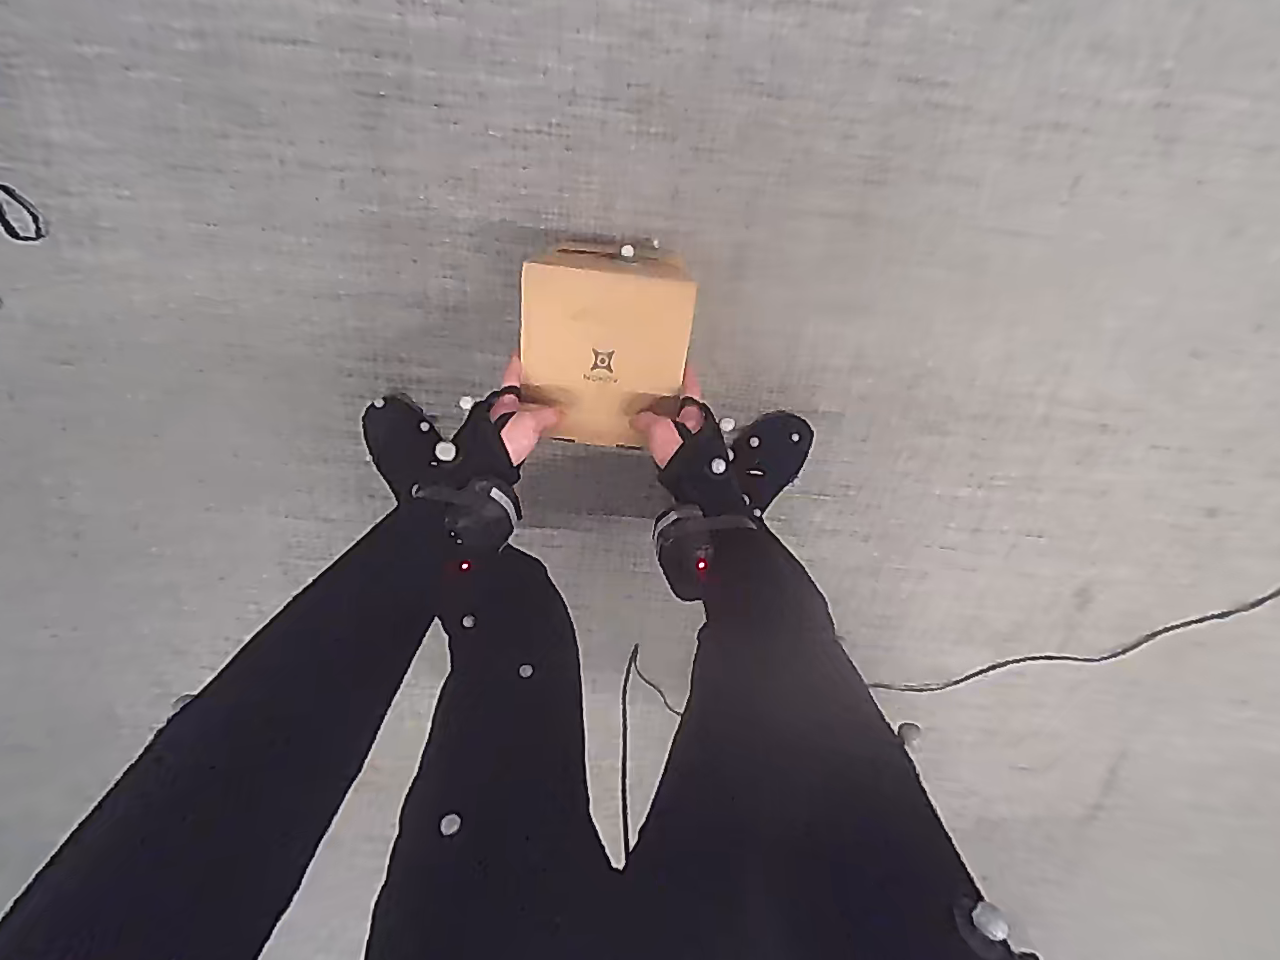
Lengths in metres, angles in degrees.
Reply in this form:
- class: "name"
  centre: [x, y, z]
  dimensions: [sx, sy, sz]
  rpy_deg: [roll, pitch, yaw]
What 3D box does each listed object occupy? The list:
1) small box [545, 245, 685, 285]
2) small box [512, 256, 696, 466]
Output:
- class: "small box"
  centre: [-0.036, -0.211, 0.723]
  dimensions: [0.168, 0.176, 0.179]
  rpy_deg: [4, 118, -1]
- class: "small box"
  centre: [-0.039, -0.134, 0.581]
  dimensions: [0.168, 0.176, 0.179]
  rpy_deg: [4, 116, -3]
